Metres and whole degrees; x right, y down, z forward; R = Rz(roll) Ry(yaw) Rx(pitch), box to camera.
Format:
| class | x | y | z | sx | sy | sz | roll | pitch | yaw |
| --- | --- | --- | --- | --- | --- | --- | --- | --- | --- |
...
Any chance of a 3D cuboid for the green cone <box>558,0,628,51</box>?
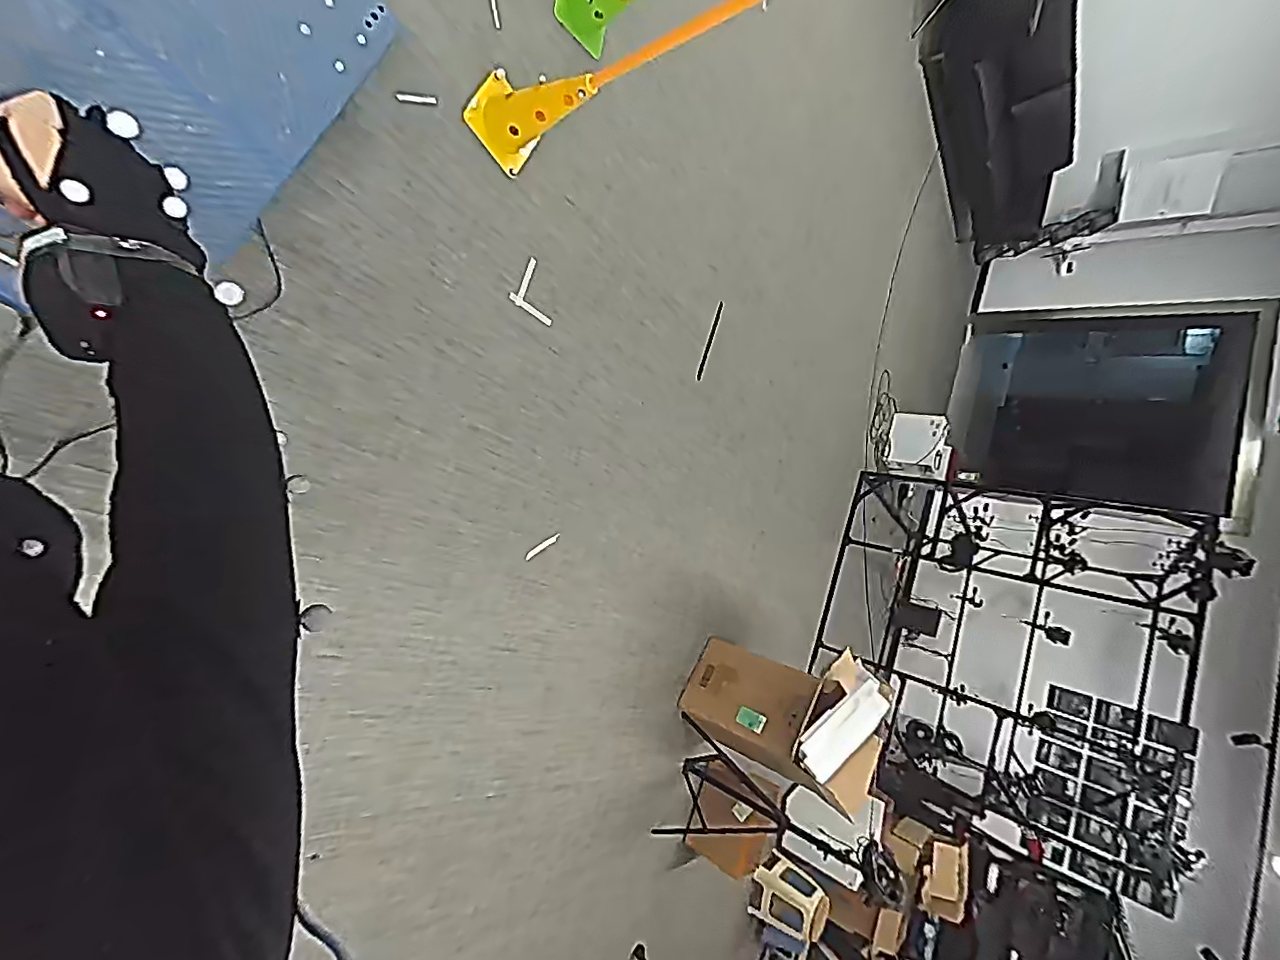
| class | x | y | z | sx | sy | sz | roll | pitch | yaw |
| --- | --- | --- | --- | --- | --- | --- | --- | --- | --- |
| green cone | -0.037 | -1.441 | 1.545 | 0.200 | 0.368 | 0.202 | 9 | 93 | -51 |
